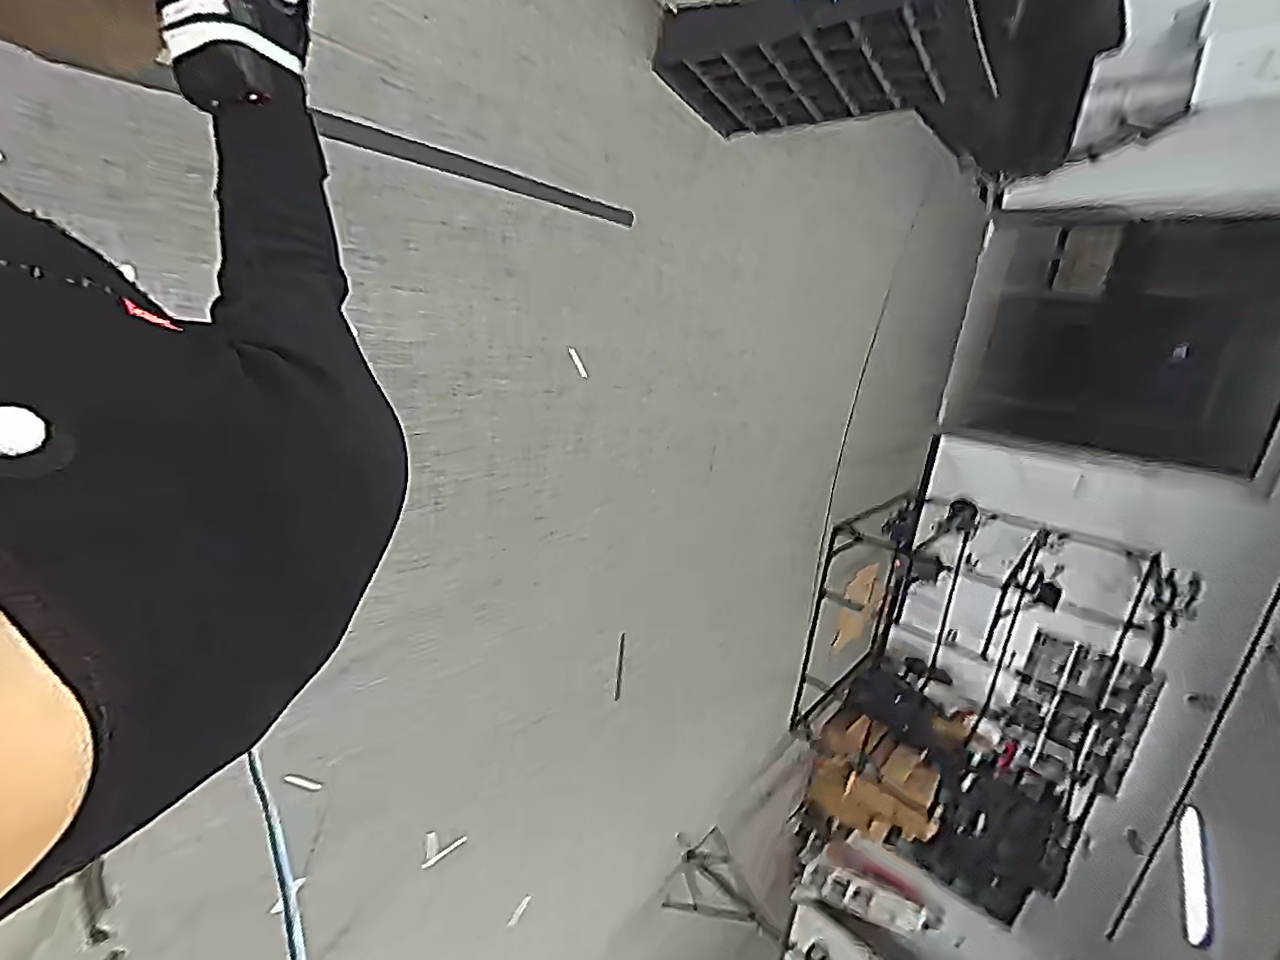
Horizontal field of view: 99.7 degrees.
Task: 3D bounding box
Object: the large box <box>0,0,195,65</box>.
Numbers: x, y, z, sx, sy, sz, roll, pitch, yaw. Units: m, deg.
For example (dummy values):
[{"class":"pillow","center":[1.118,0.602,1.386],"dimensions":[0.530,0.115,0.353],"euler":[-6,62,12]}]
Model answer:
[{"class":"large box","center":[-0.535,-0.484,0.277],"dimensions":[0.408,0.320,0.320],"euler":[-16,120,-47]}]
